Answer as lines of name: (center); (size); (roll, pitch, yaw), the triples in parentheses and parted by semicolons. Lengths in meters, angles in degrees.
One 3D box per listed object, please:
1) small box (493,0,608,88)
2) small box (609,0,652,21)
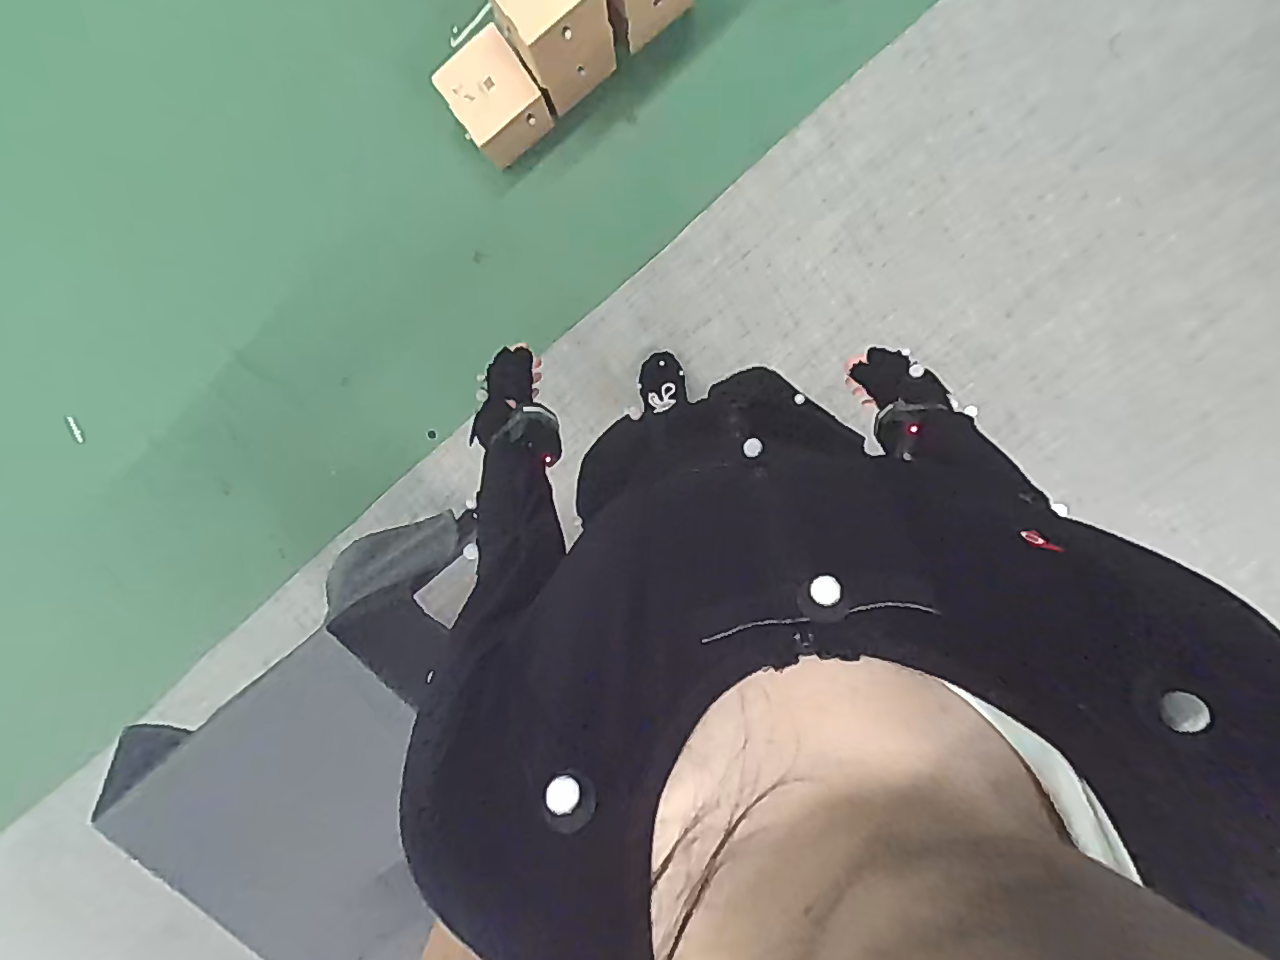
small box: (-0.173, -0.909, 1.033); (0.179, 0.176, 0.168); (-33, 101, 10)
small box: (-0.011, -1.025, 0.998); (0.179, 0.176, 0.168); (-39, 99, 9)
